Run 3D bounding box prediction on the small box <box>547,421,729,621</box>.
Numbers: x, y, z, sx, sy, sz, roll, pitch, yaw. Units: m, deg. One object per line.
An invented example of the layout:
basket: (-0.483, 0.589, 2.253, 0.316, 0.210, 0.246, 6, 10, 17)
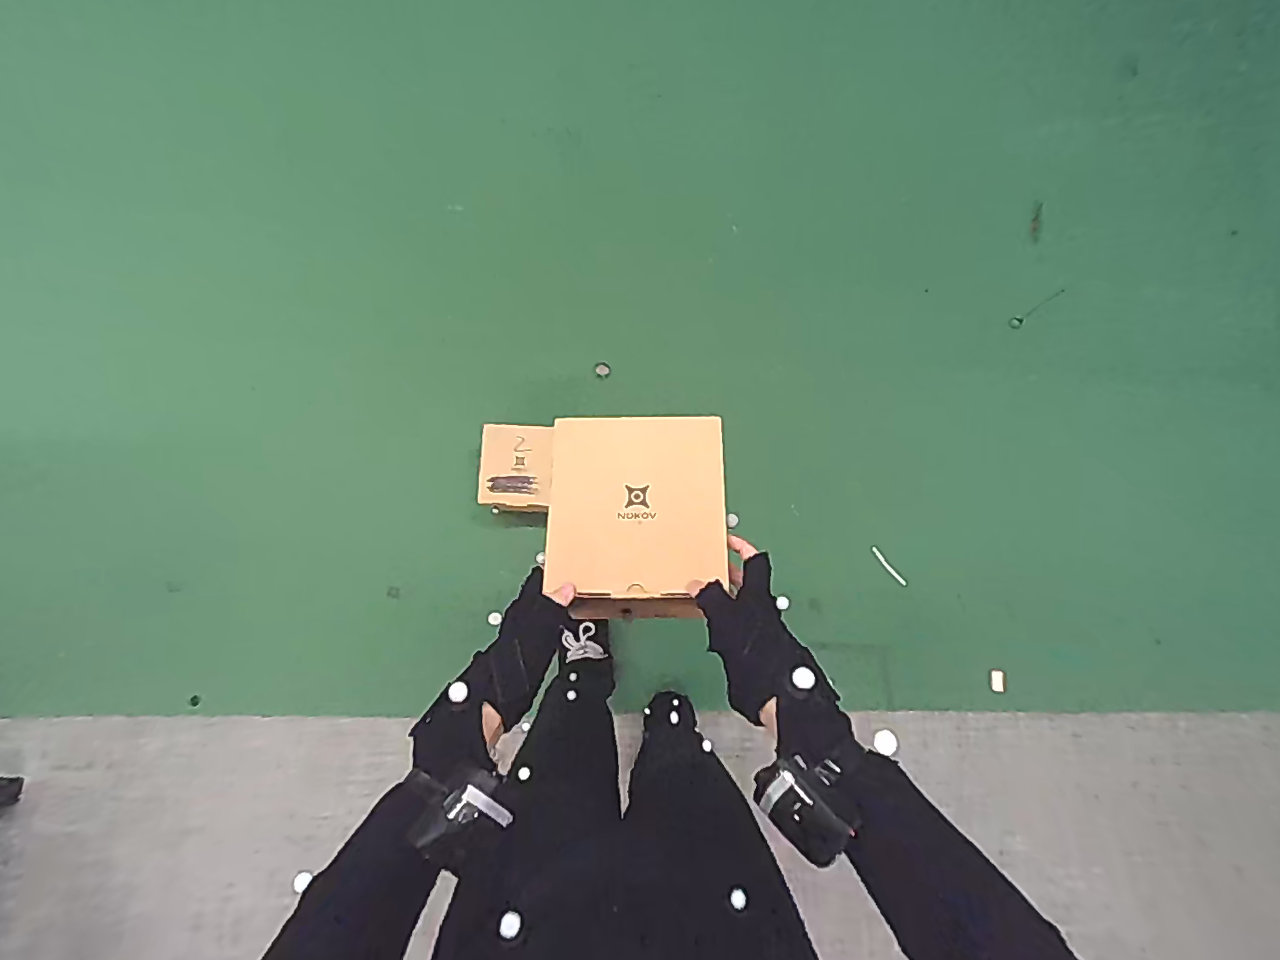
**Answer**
small box: (0.000, 0.052, 0.584, 0.168, 0.176, 0.179, 1, 70, 1)
